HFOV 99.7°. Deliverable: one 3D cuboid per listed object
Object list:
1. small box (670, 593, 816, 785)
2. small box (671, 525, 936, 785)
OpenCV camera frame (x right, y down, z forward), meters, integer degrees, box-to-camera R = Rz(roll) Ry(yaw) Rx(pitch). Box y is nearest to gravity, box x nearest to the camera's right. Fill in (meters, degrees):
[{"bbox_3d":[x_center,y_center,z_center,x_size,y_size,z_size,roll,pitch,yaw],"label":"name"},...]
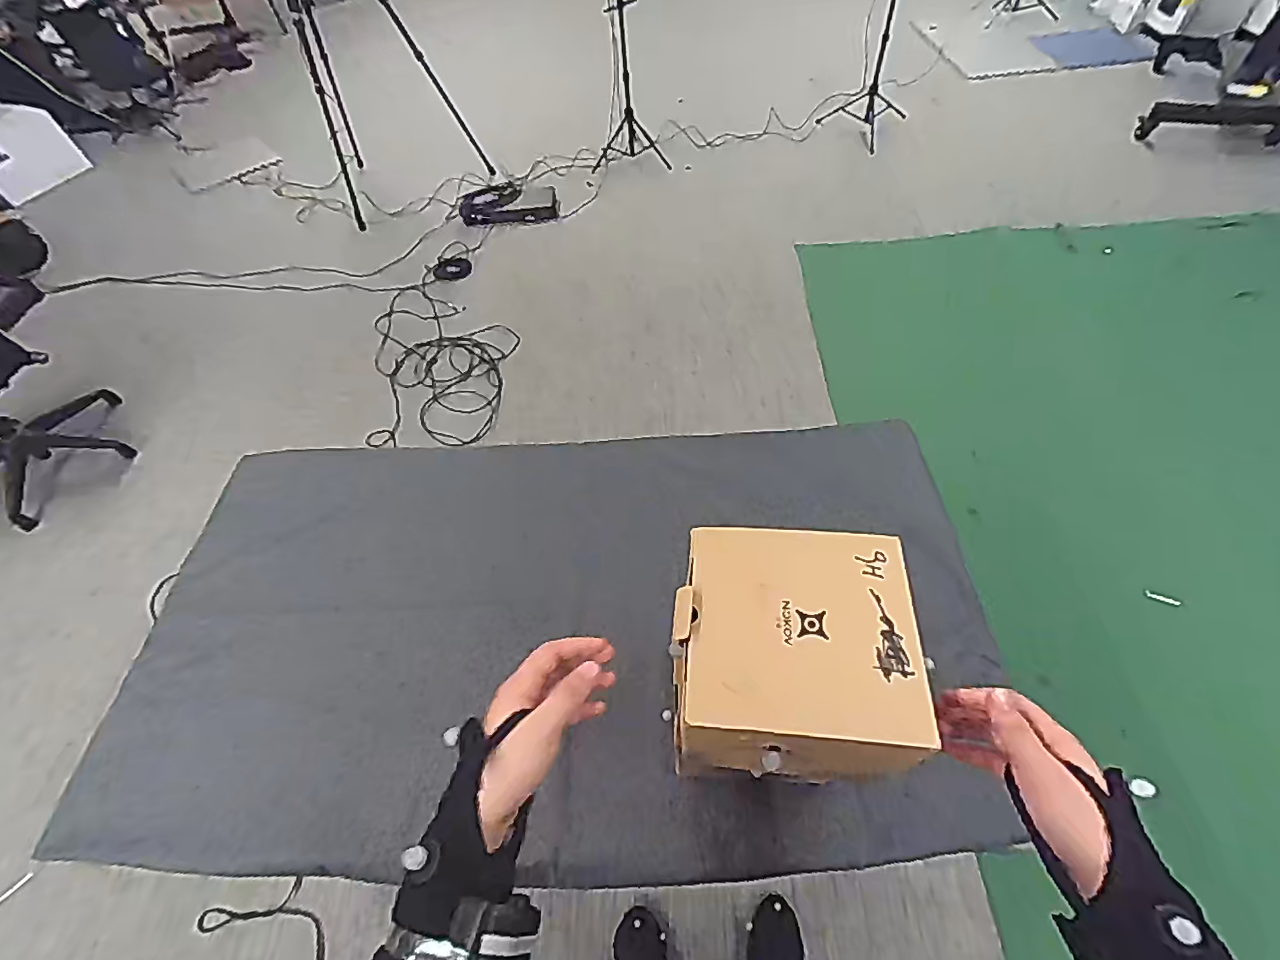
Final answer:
[{"bbox_3d":[0.127,0.239,0.612,0.179,0.176,0.168,1,54,5],"label":"small box"},{"bbox_3d":[0.124,0.155,0.470,0.179,0.176,0.168,2,54,8],"label":"small box"}]
